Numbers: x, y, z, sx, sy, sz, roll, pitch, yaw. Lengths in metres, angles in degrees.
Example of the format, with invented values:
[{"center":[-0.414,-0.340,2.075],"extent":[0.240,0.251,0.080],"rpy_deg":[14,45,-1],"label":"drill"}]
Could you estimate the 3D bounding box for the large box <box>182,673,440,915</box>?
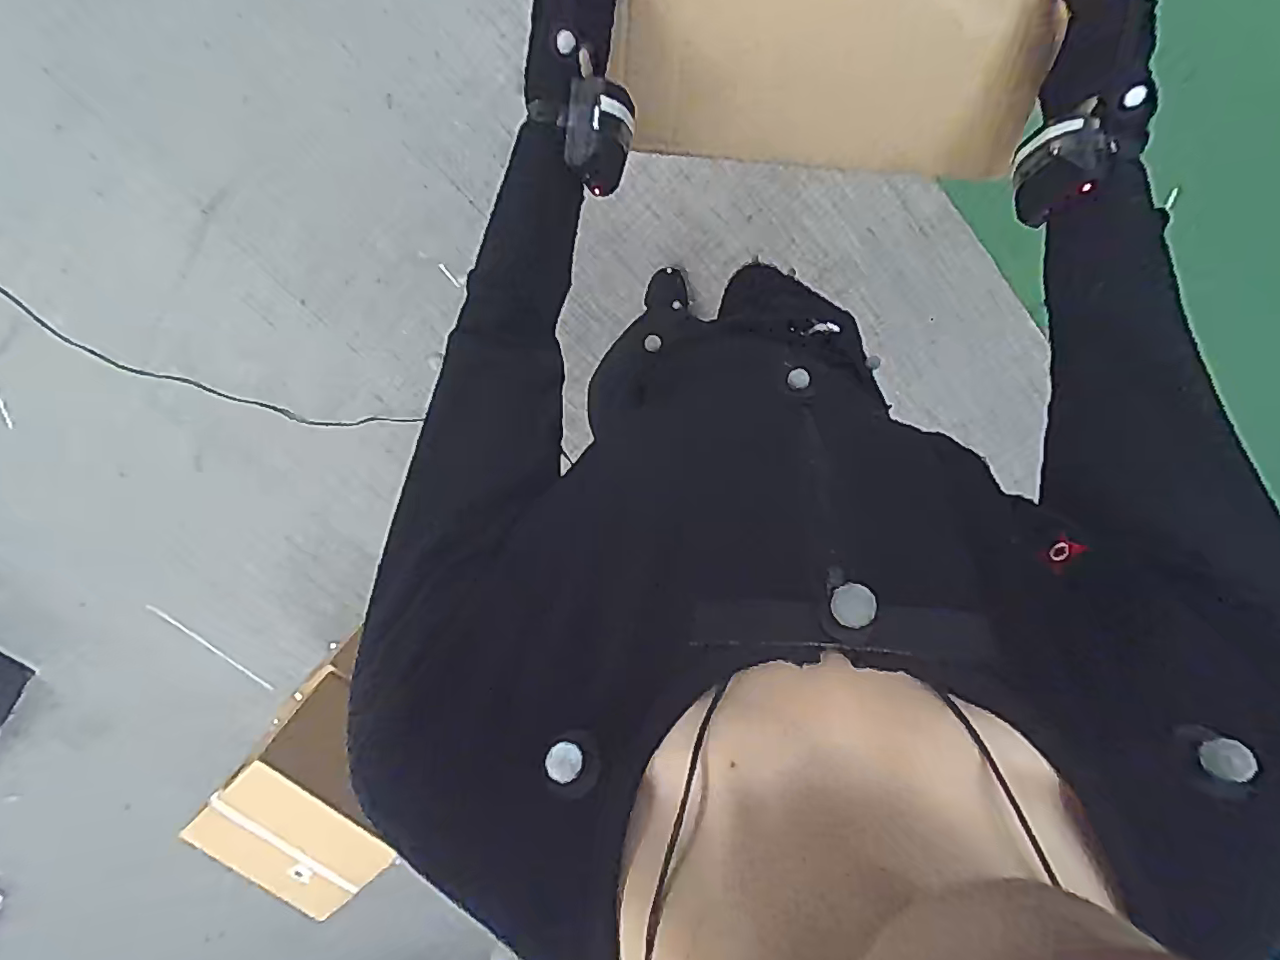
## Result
[{"center":[-0.808,0.789,1.391],"extent":[0.320,0.320,0.408],"rpy_deg":[-43,105,11],"label":"large box"}]
